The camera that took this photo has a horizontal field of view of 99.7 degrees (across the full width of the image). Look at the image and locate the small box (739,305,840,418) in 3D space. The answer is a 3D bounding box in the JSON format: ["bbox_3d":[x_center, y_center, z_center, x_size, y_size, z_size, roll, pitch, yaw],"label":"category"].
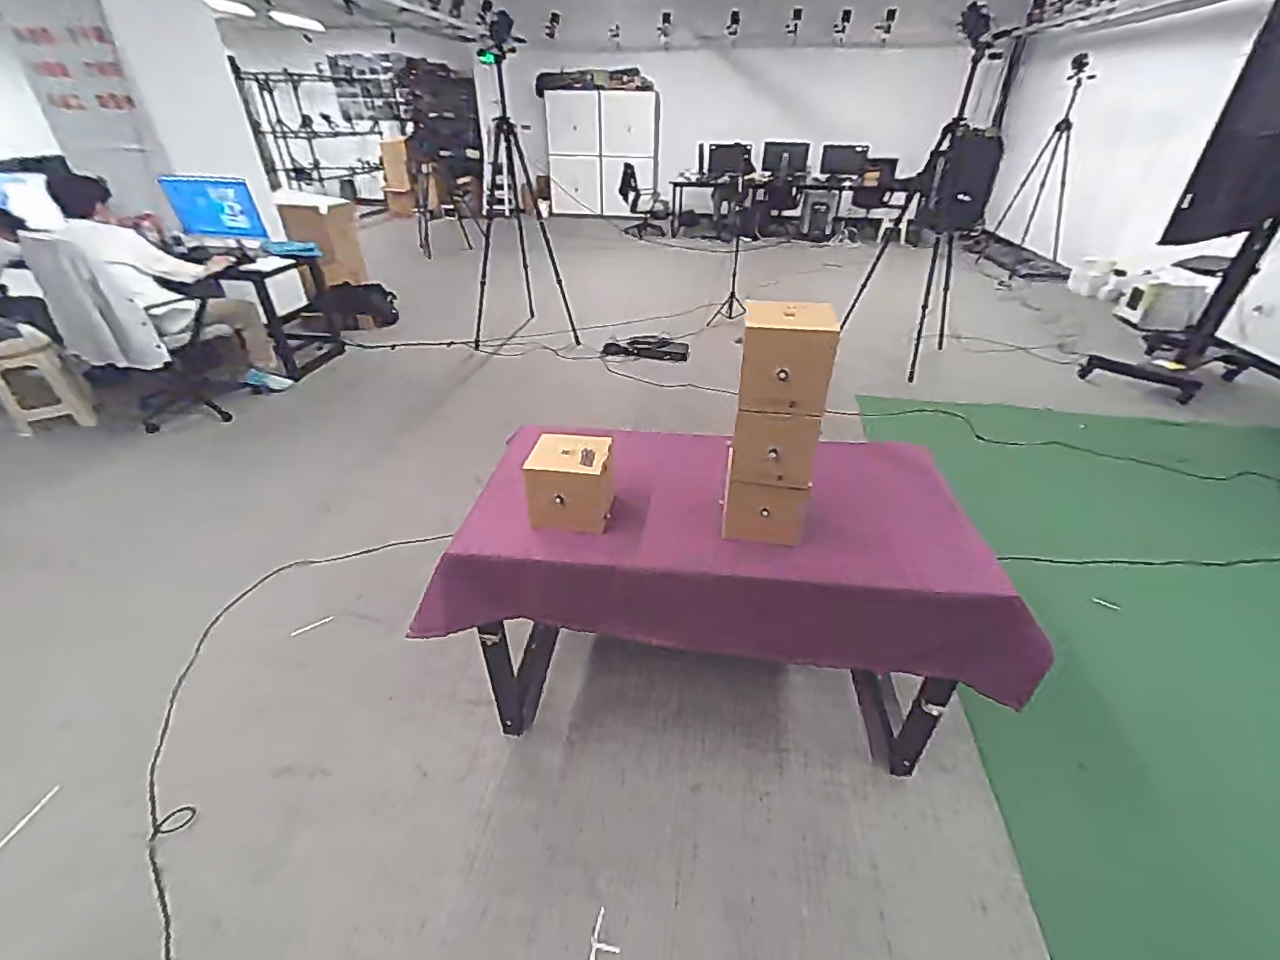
[{"bbox_3d":[0.287,-0.234,1.061,0.168,0.176,0.179,6,33,9],"label":"small box"}]

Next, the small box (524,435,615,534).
[{"bbox_3d":[-0.158,0.012,1.280,0.179,0.176,0.168,4,33,7],"label":"small box"}]

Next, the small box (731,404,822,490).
[{"bbox_3d":[0.289,-0.097,1.153,0.168,0.176,0.179,7,35,10],"label":"small box"}]
